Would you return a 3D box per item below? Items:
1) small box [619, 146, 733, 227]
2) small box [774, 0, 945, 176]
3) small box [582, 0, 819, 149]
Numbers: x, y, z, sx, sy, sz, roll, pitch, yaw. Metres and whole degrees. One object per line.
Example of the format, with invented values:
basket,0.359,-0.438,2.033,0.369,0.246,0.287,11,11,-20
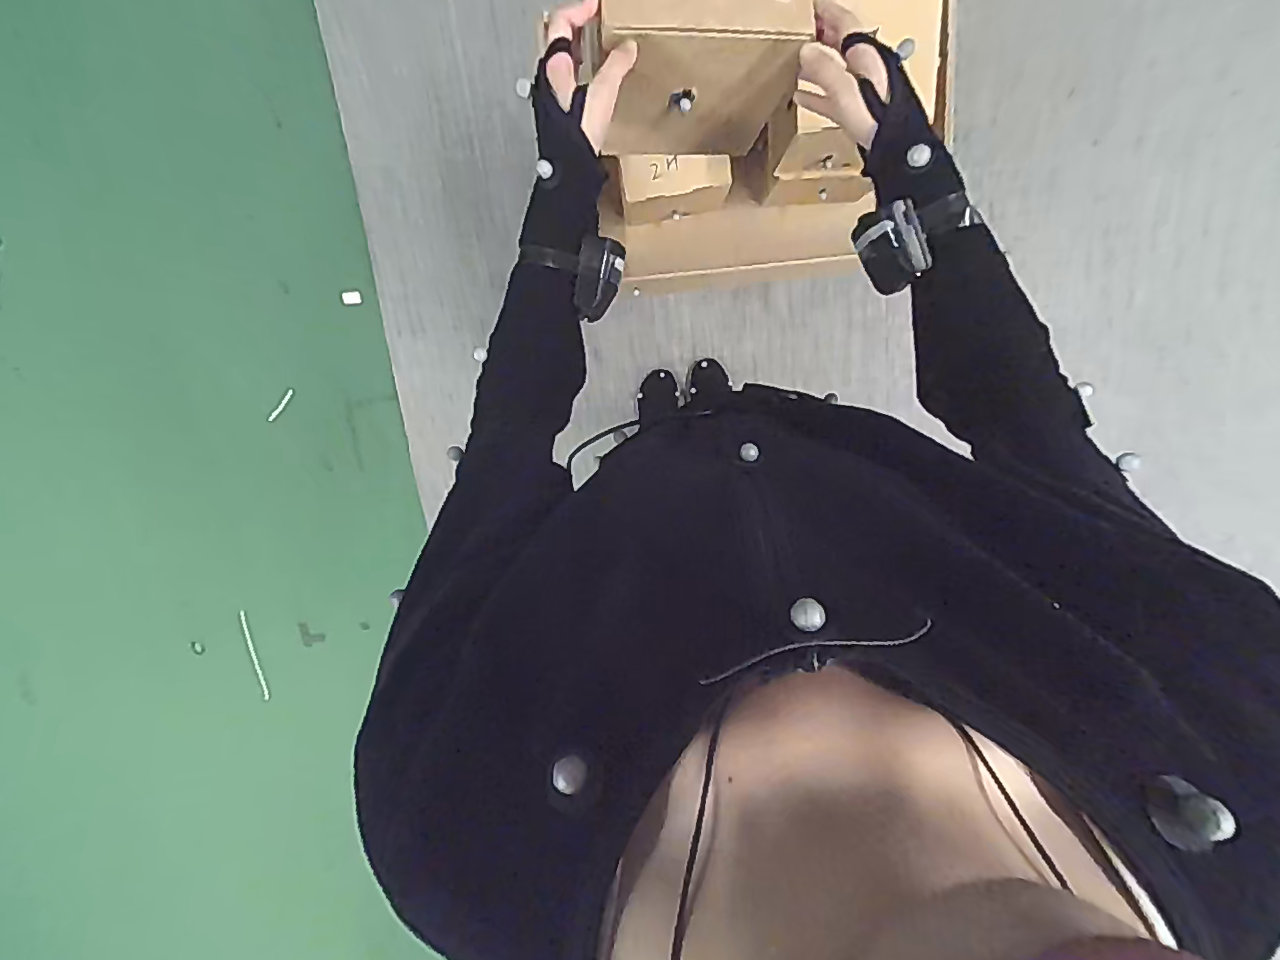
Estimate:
small box,0.051,-0.538,0.884,0.168,0.176,0.179,-9,103,4
small box,0.274,-0.528,0.712,0.168,0.176,0.179,-2,103,4
small box,0.041,-0.432,0.494,0.179,0.176,0.168,-5,92,-7
